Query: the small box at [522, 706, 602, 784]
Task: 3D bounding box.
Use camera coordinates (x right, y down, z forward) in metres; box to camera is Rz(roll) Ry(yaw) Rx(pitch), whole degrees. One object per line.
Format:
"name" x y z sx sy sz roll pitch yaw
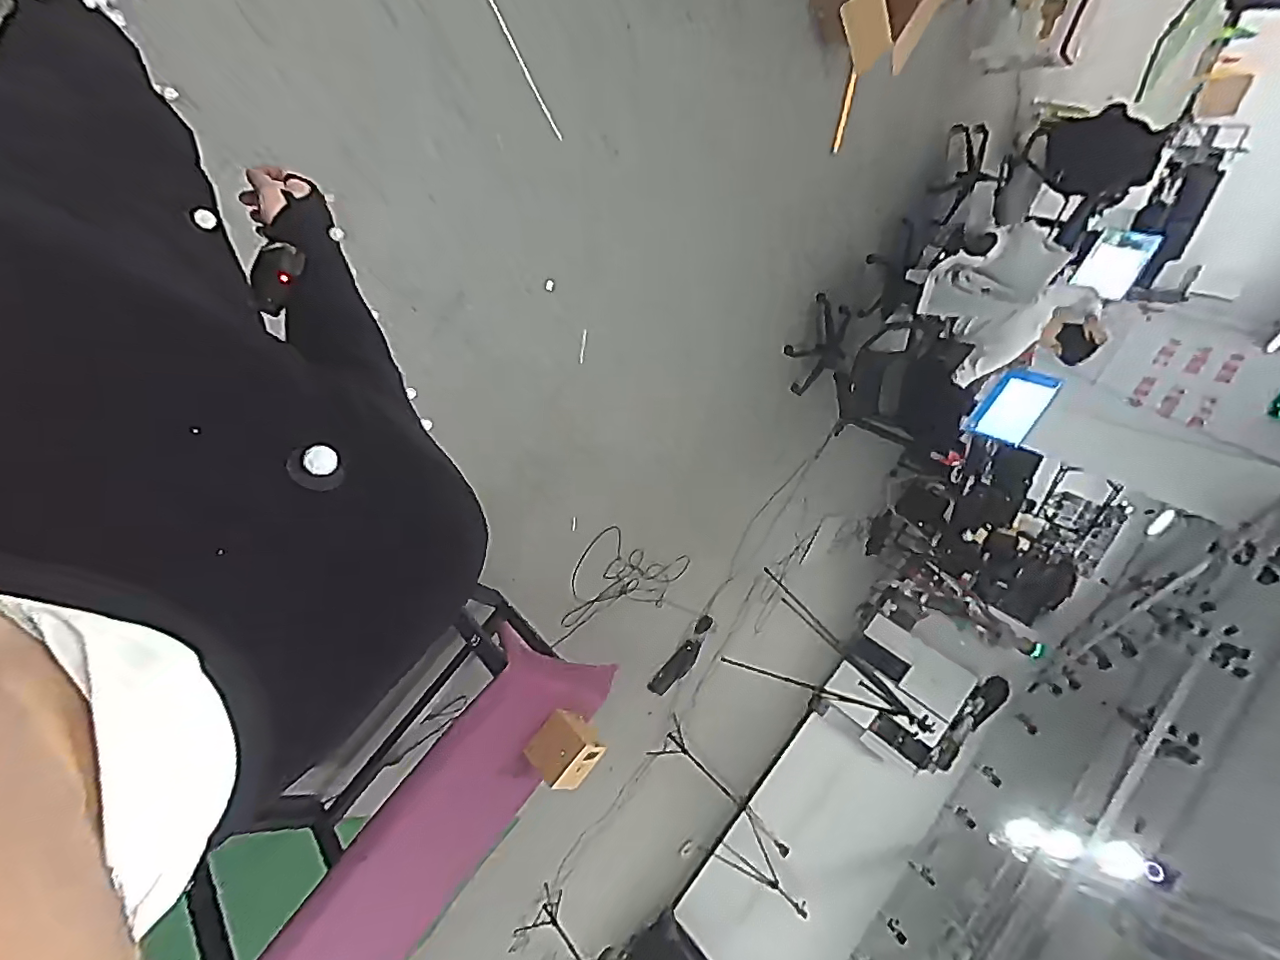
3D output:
"small box" -0.267 0.896 1.834 0.179 0.176 0.168 -49 145 -8
